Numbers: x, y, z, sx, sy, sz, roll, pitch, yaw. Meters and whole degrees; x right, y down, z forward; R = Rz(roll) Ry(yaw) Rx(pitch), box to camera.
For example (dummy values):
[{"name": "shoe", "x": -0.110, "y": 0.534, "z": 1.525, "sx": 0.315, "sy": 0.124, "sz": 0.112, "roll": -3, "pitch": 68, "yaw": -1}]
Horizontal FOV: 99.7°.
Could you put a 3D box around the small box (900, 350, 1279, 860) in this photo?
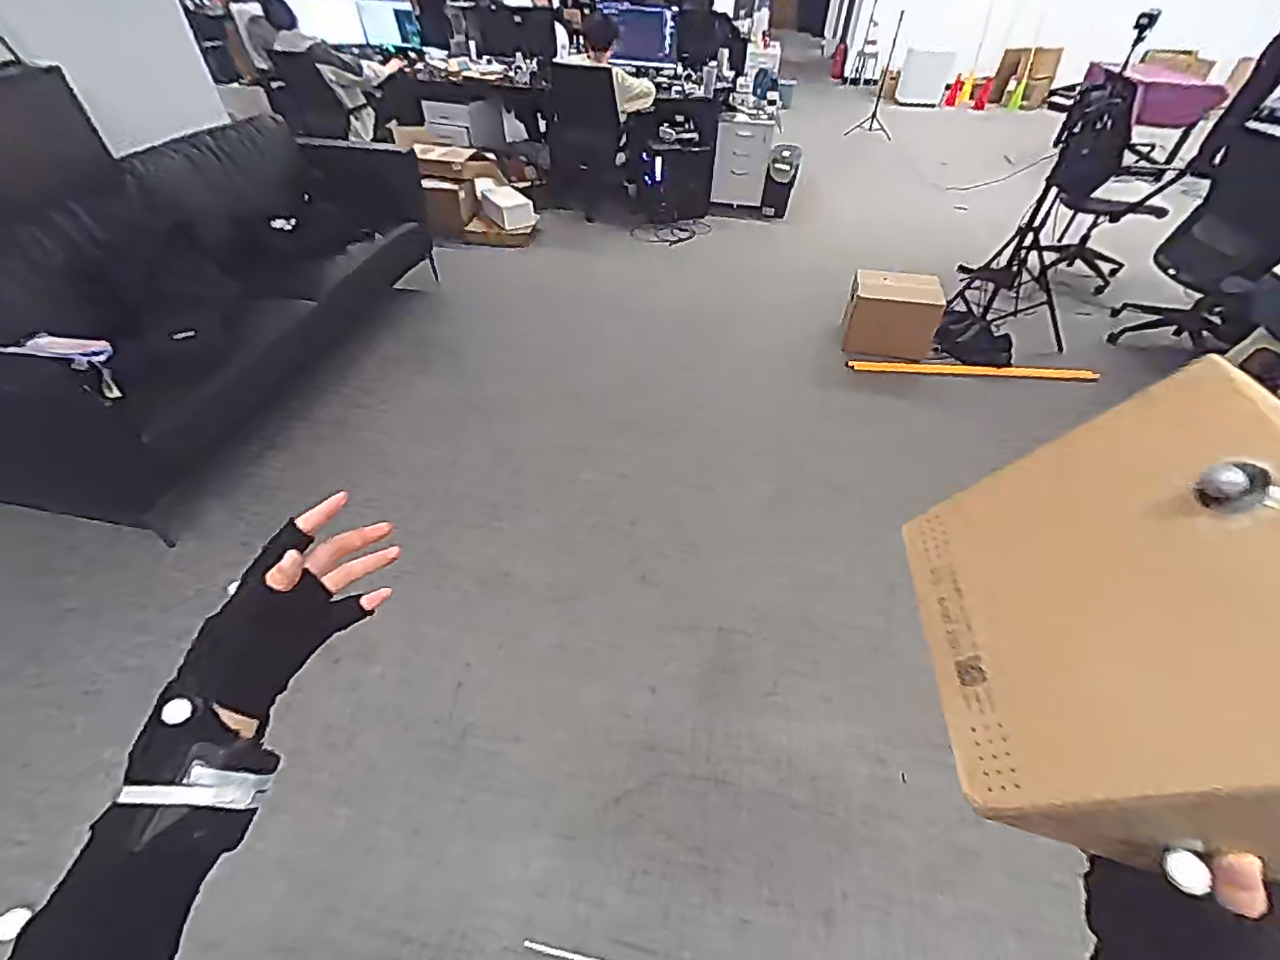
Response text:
[{"name": "small box", "x": 0.268, "y": 0.078, "z": 0.269, "sx": 0.179, "sy": 0.176, "sz": 0.168, "roll": 25, "pitch": 48, "yaw": -19}]
